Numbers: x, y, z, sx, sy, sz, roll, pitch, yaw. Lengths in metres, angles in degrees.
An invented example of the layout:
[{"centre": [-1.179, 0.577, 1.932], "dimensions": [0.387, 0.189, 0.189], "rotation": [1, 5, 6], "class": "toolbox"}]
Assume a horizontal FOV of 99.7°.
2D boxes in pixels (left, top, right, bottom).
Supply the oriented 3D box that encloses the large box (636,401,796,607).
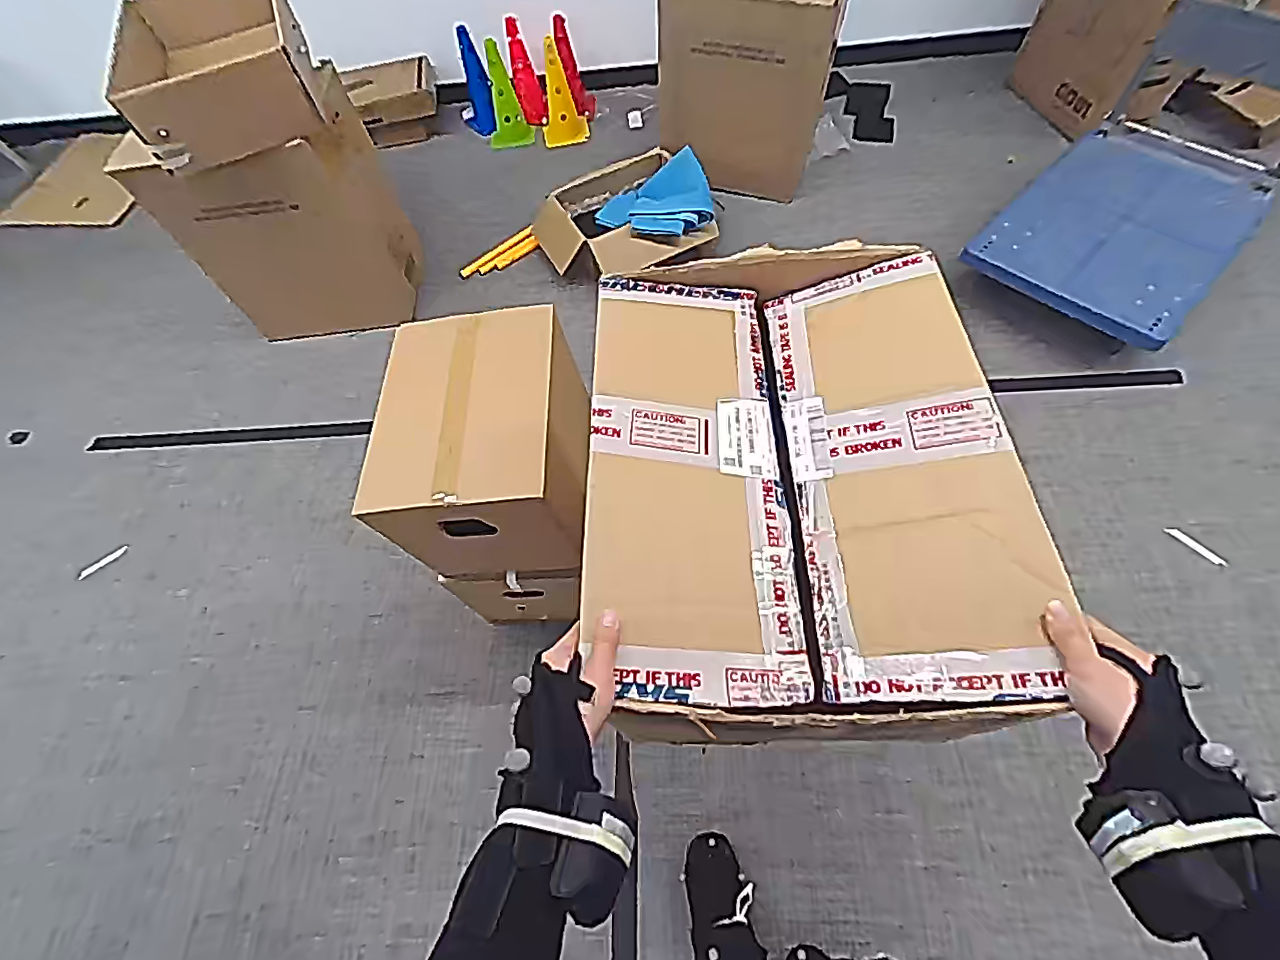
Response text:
[{"centre": [0.162, 0.066, 1.314], "dimensions": [0.320, 0.320, 0.408], "rotation": [-4, 61, 3], "class": "large box"}]
